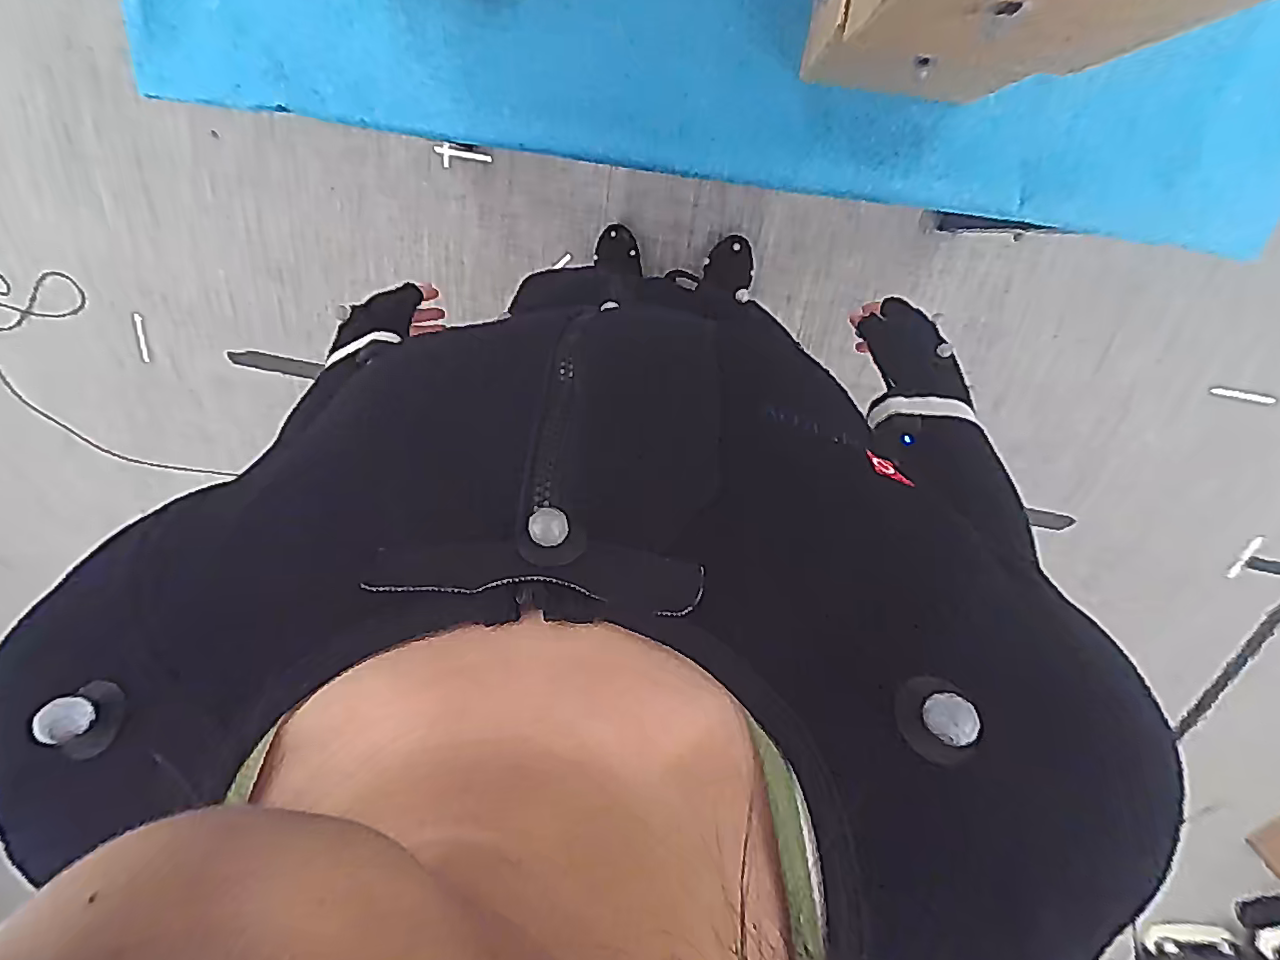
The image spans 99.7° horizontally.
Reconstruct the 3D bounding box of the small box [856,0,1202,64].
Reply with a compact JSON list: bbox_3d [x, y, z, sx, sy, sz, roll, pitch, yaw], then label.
[{"bbox_3d":[0.239,-0.353,0.296,0.179,0.176,0.168,6,116,3],"label":"small box"}]

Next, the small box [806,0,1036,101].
[{"bbox_3d":[0.249,-0.430,0.438,0.179,0.176,0.168,10,117,2],"label":"small box"}]
